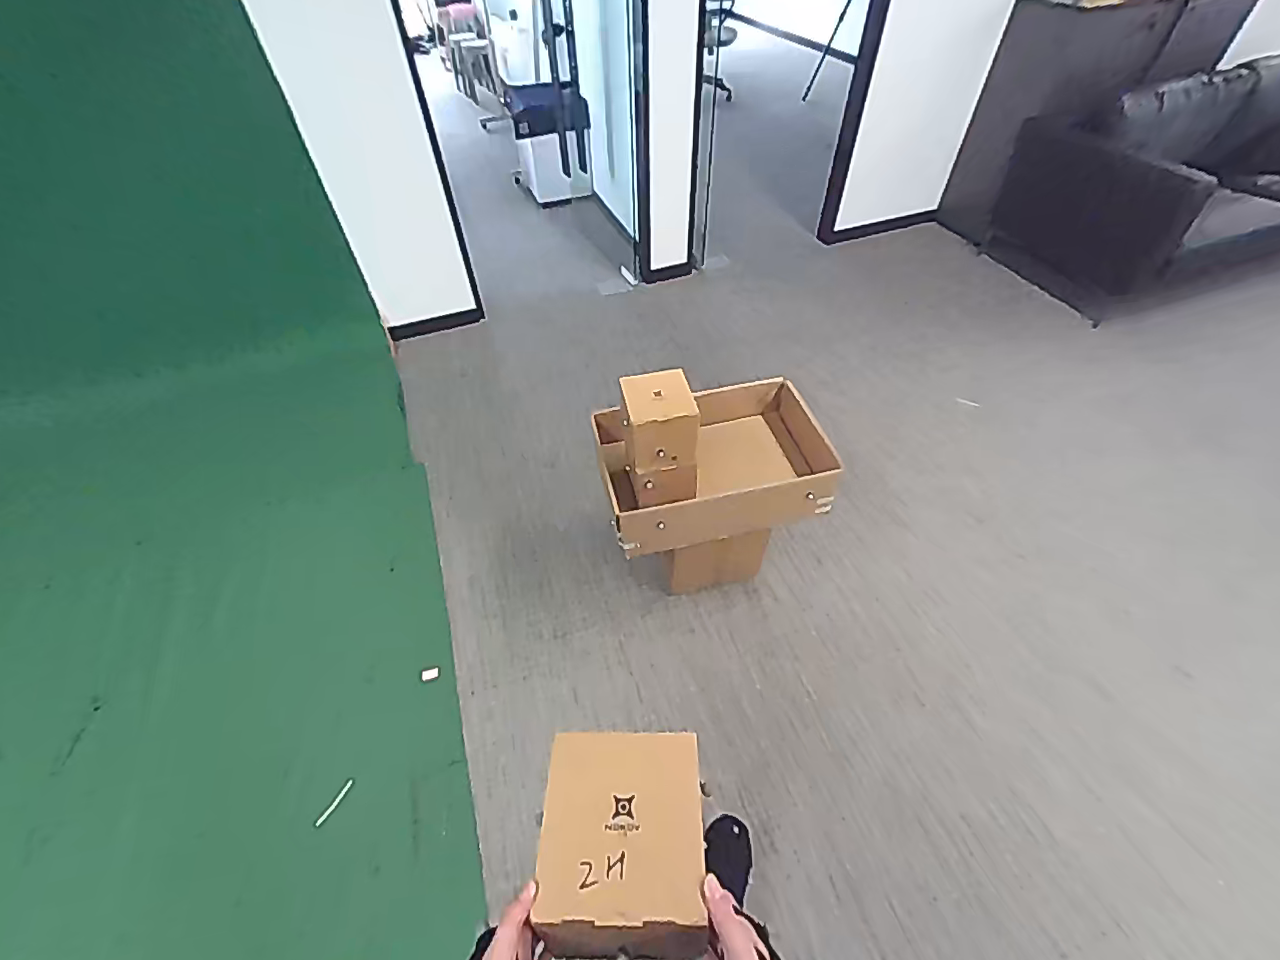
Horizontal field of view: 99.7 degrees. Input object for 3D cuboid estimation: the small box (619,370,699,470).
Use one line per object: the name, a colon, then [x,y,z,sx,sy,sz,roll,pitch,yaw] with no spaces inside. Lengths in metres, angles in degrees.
small box: [0.041,-0.152,1.364,0.168,0.176,0.179,-9,51,-8]

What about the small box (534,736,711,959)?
small box: [-0.013,0.412,0.606,0.168,0.176,0.179,-1,40,2]
